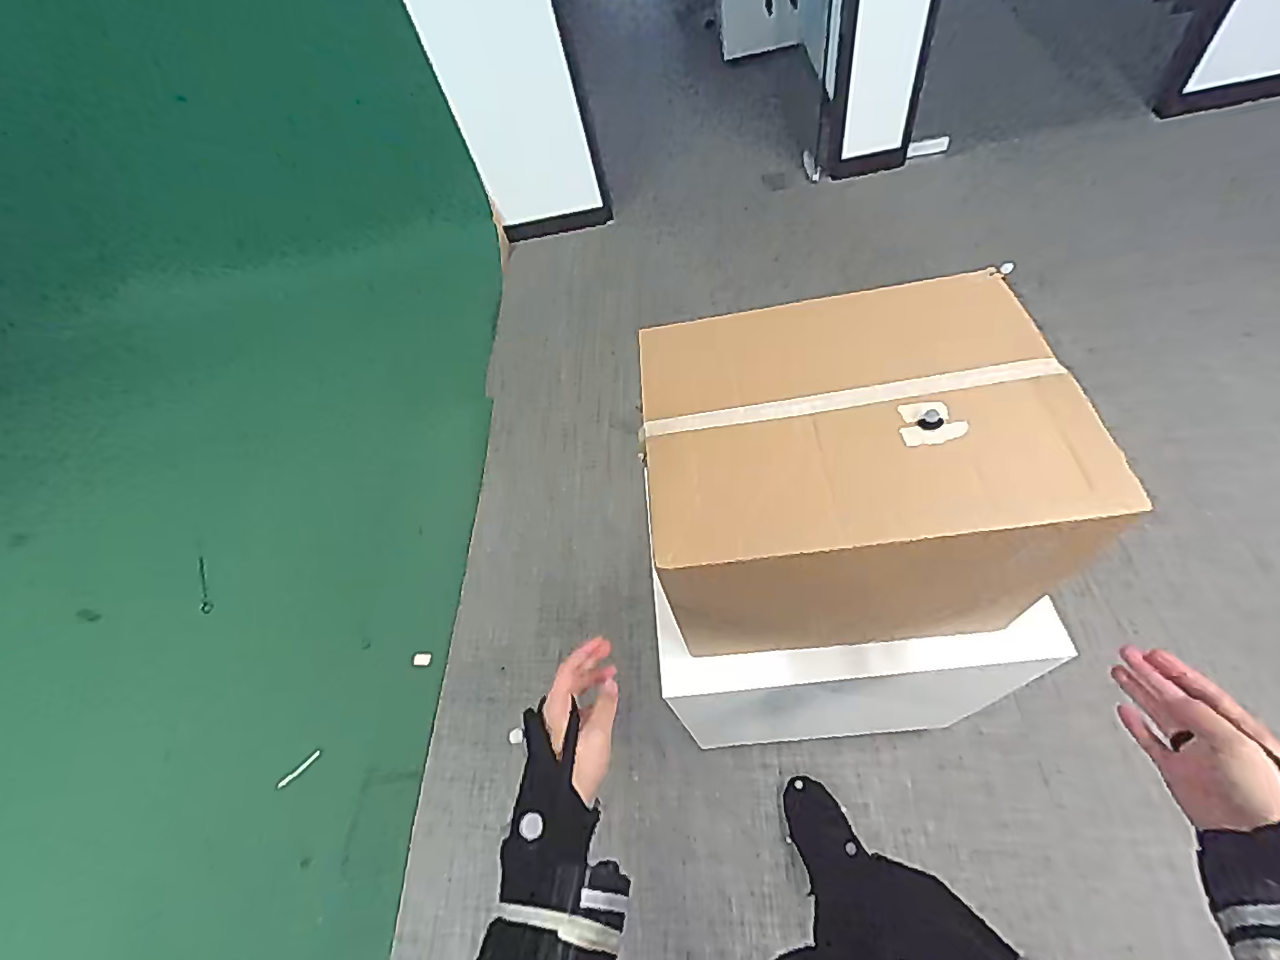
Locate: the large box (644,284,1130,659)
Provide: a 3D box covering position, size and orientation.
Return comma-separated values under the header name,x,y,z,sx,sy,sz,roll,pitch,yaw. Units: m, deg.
name,x,y,z,sx,sy,sz,roll,pitch,yaw
large box,0.231,0.010,0.675,0.408,0.320,0.320,-8,57,6
